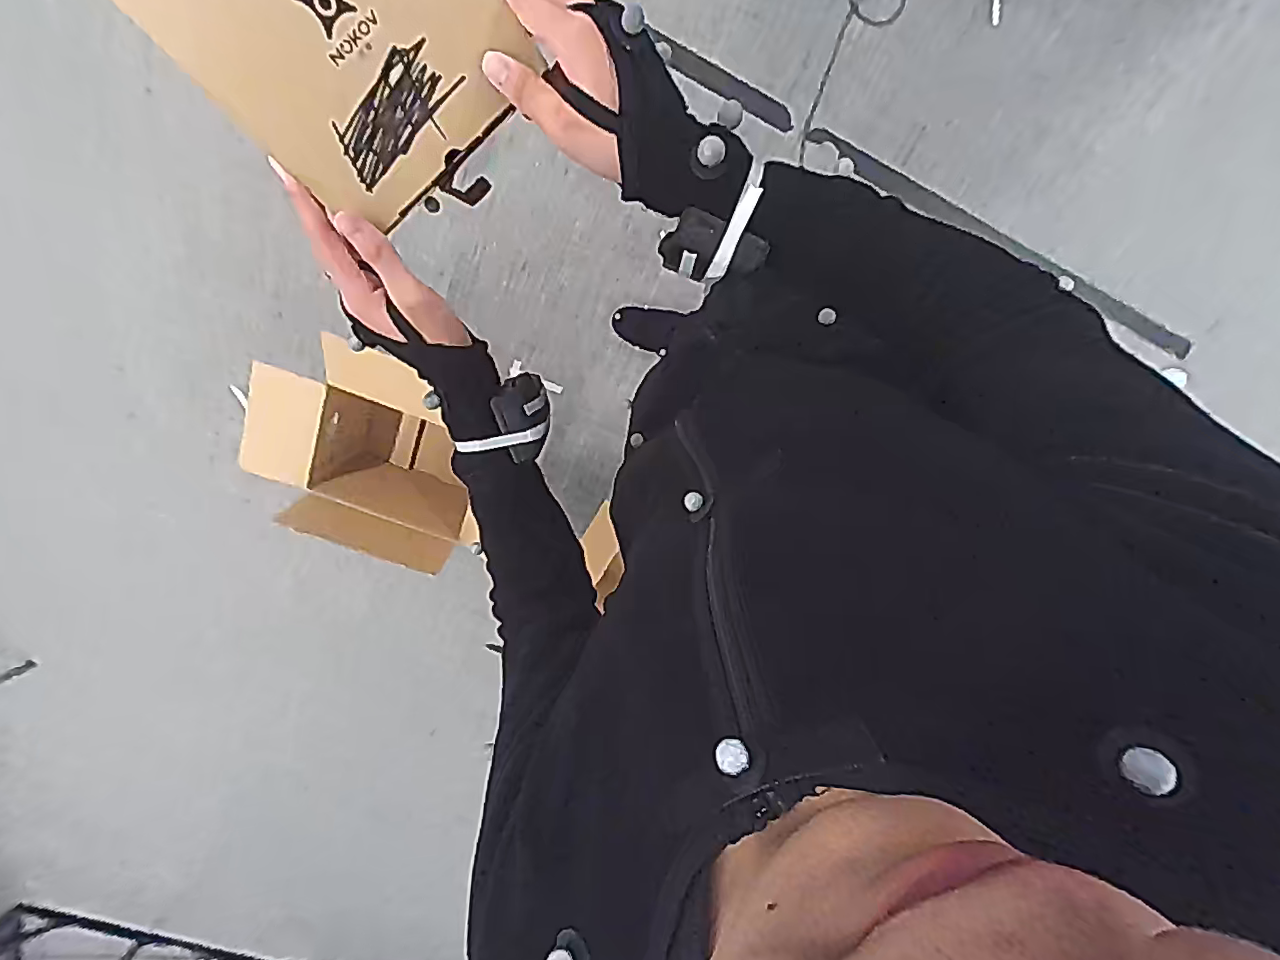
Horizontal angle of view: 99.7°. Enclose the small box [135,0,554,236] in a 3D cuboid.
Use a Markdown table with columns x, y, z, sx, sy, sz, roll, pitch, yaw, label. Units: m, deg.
| x | y | z | sx | sy | sz | roll | pitch | yaw | label |
| --- | --- | --- | --- | --- | --- | --- | --- | --- | --- |
| -0.179 | -0.302 | 0.361 | 0.168 | 0.176 | 0.179 | -37 | 123 | 10 | small box |
